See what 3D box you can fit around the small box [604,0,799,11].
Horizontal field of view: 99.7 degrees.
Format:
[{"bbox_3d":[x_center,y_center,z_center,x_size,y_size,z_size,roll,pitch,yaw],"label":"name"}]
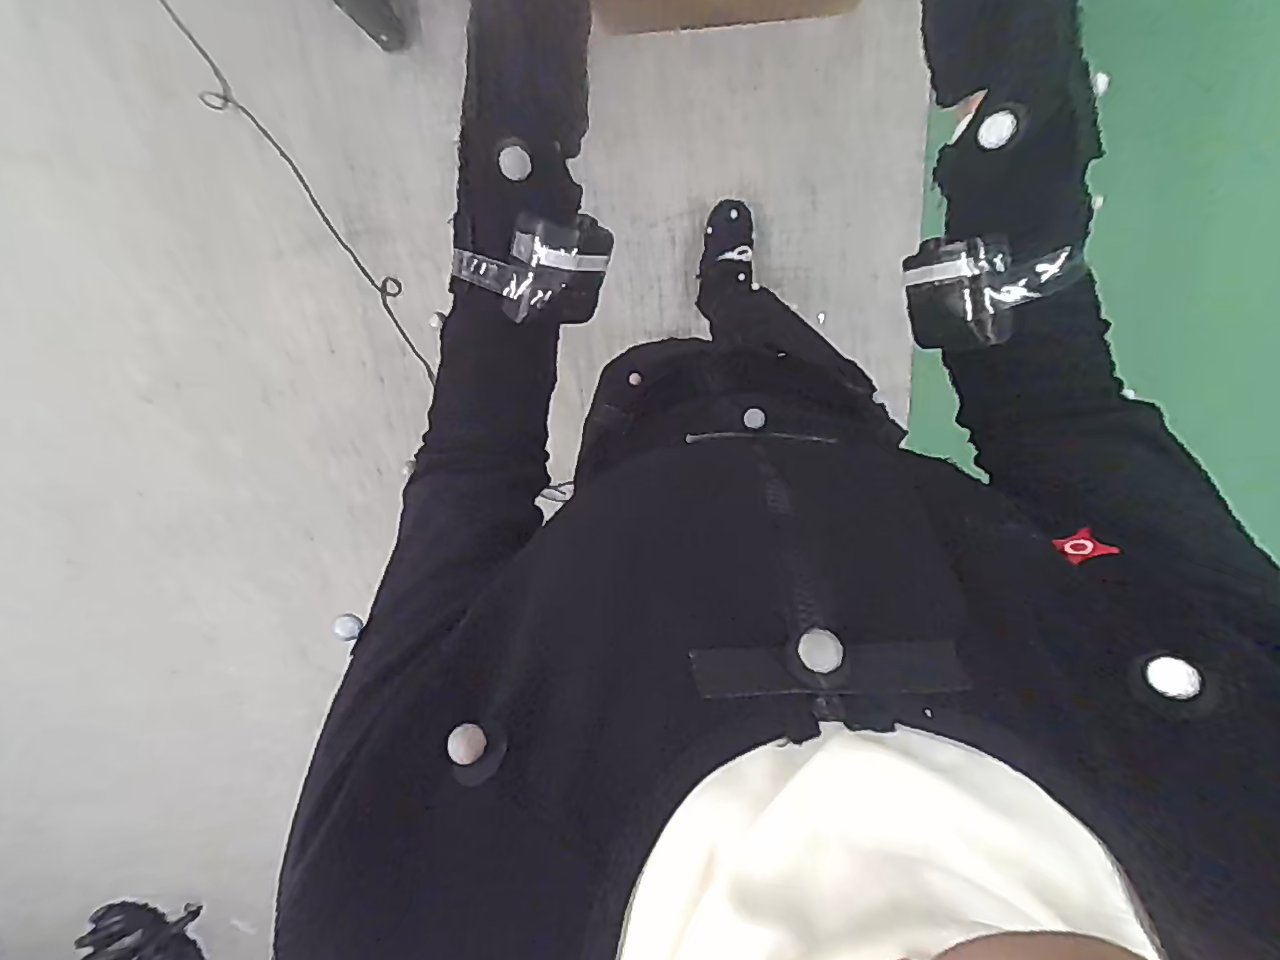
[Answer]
[{"bbox_3d":[0.048,-0.379,0.273,0.179,0.176,0.168,-1,108,4],"label":"small box"}]
